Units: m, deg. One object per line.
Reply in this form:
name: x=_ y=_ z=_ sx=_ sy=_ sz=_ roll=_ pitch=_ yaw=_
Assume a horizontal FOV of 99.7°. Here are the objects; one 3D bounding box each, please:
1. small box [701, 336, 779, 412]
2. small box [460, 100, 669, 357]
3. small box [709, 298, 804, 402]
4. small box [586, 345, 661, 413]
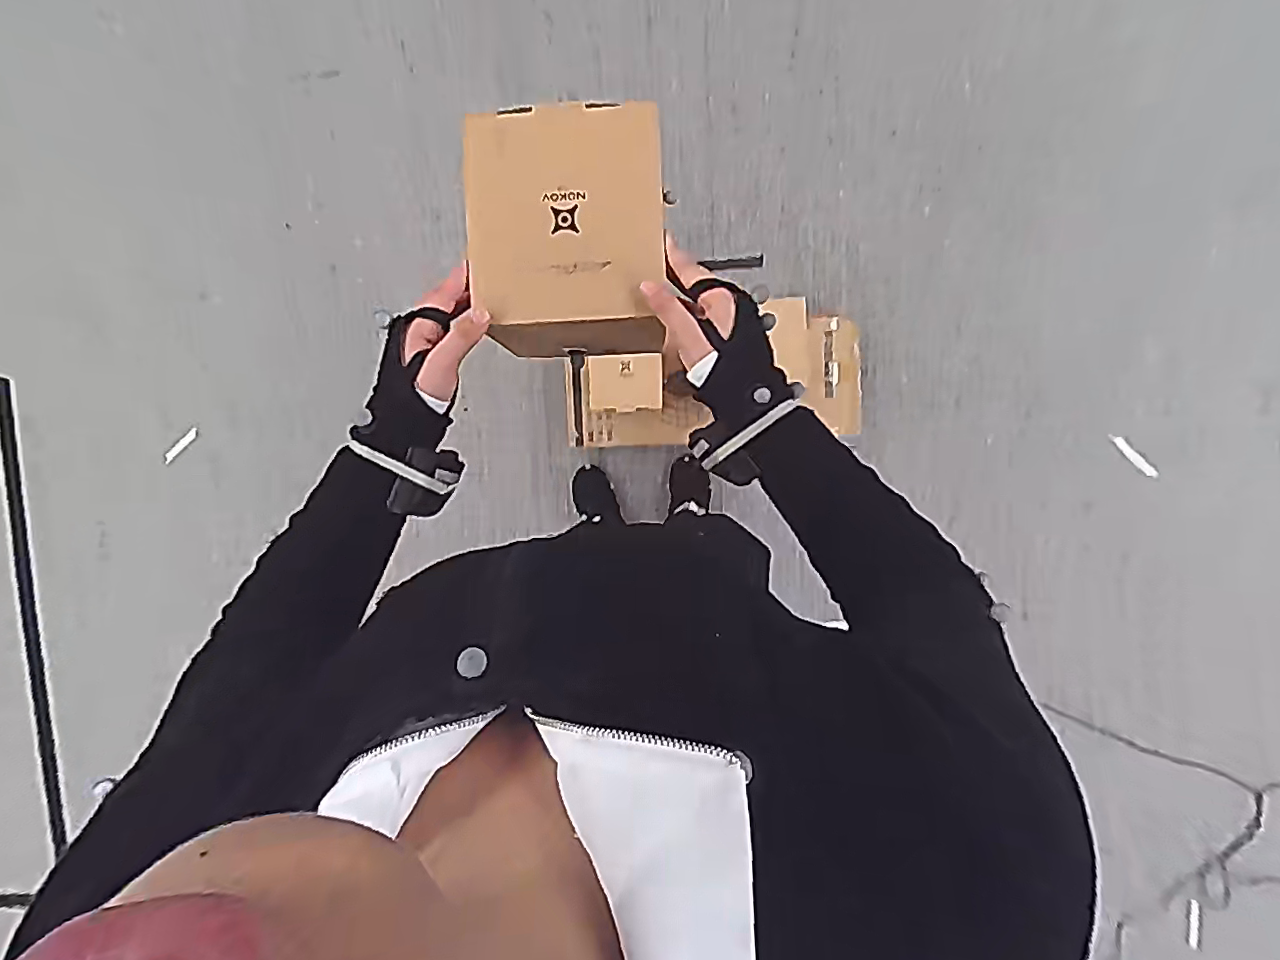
small box: x=0.233 y=-0.256 z=1.275 sx=0.168 sy=0.176 sz=0.179 roll=2 pitch=95 yaw=3
small box: x=-0.061 y=-0.223 z=0.522 sx=0.168 sy=0.176 sz=0.179 roll=-3 pitch=95 yaw=2
small box: x=0.232 y=-0.259 z=1.109 sx=0.168 sy=0.176 sz=0.179 roll=-3 pitch=94 yaw=3
small box: x=-0.035 y=-0.248 z=1.285 sx=0.168 sy=0.176 sz=0.179 roll=0 pitch=95 yaw=3
